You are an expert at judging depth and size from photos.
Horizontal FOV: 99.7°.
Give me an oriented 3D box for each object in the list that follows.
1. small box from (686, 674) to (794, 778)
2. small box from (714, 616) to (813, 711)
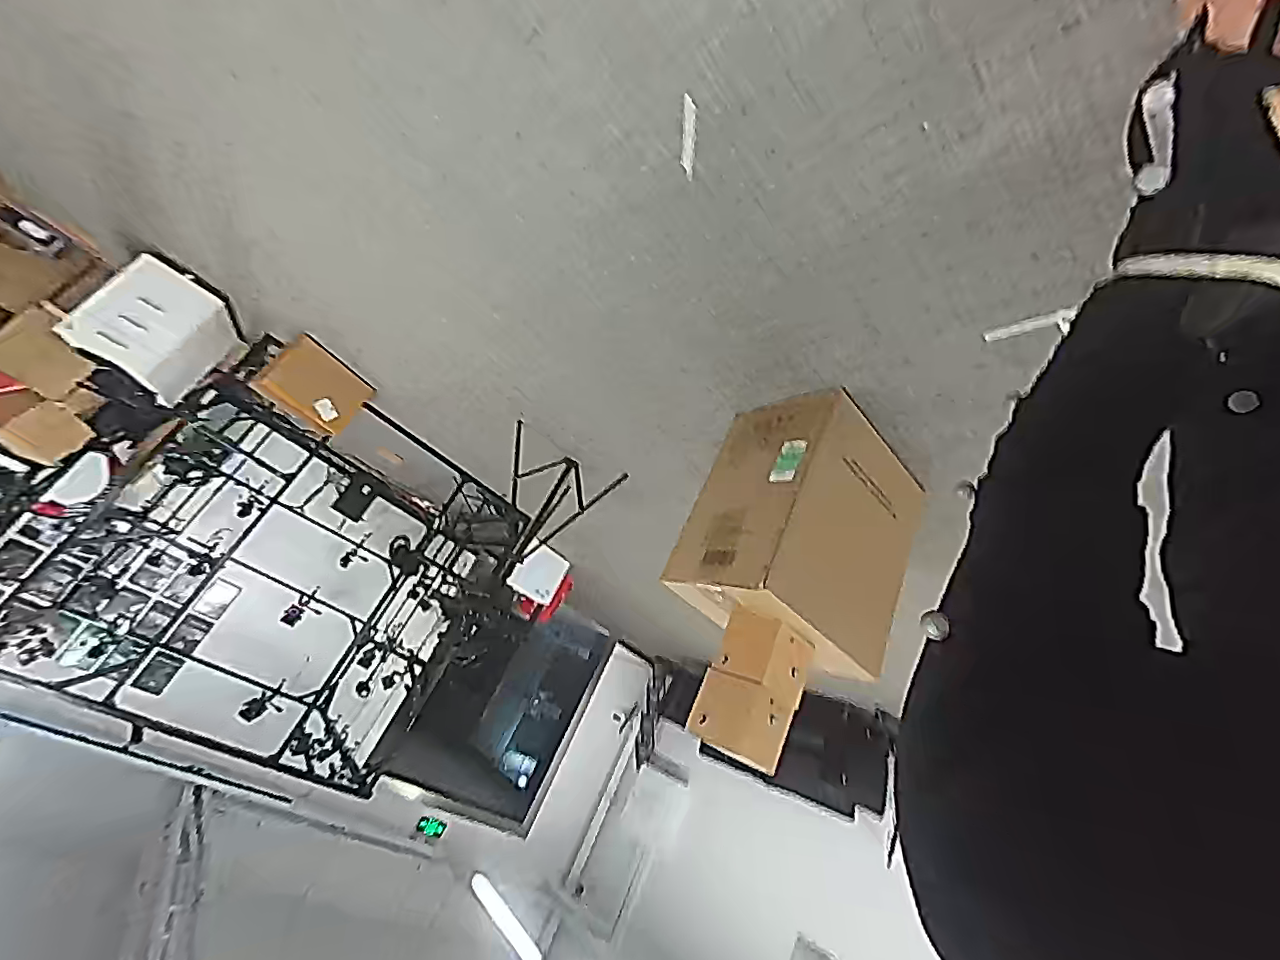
[{"bbox_3d":[0.252,0.604,1.348,0.168,0.176,0.179,41,154,-30],"label":"small box"},{"bbox_3d":[0.329,0.470,1.408,0.168,0.176,0.179,40,154,-28],"label":"small box"}]
